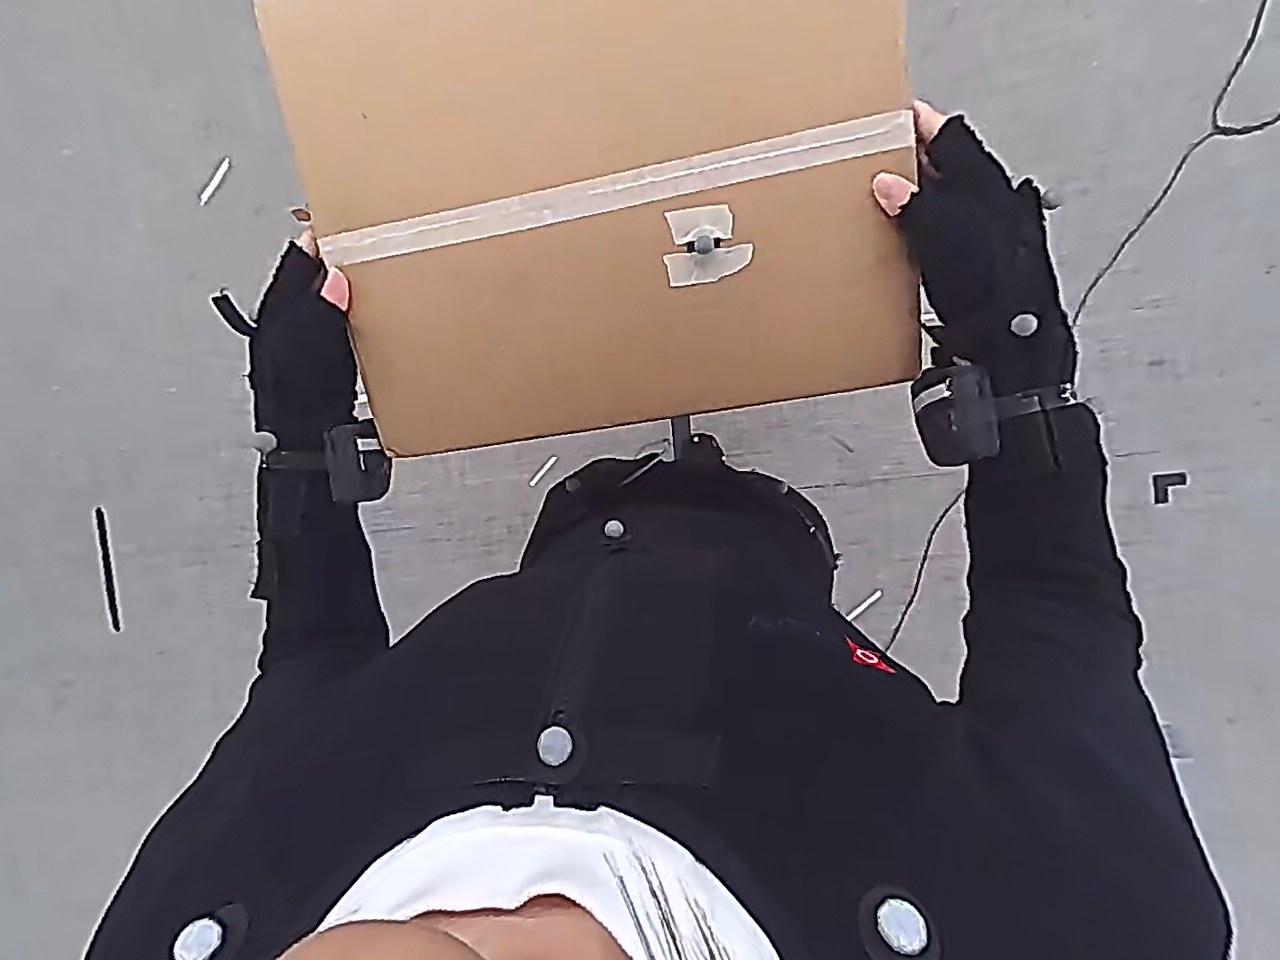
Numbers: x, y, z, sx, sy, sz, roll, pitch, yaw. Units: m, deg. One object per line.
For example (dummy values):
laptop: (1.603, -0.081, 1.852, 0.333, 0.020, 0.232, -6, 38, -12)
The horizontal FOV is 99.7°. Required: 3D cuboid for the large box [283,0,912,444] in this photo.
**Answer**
large box: (-0.014, -0.242, 0.521, 0.408, 0.320, 0.320, -9, 105, 7)
